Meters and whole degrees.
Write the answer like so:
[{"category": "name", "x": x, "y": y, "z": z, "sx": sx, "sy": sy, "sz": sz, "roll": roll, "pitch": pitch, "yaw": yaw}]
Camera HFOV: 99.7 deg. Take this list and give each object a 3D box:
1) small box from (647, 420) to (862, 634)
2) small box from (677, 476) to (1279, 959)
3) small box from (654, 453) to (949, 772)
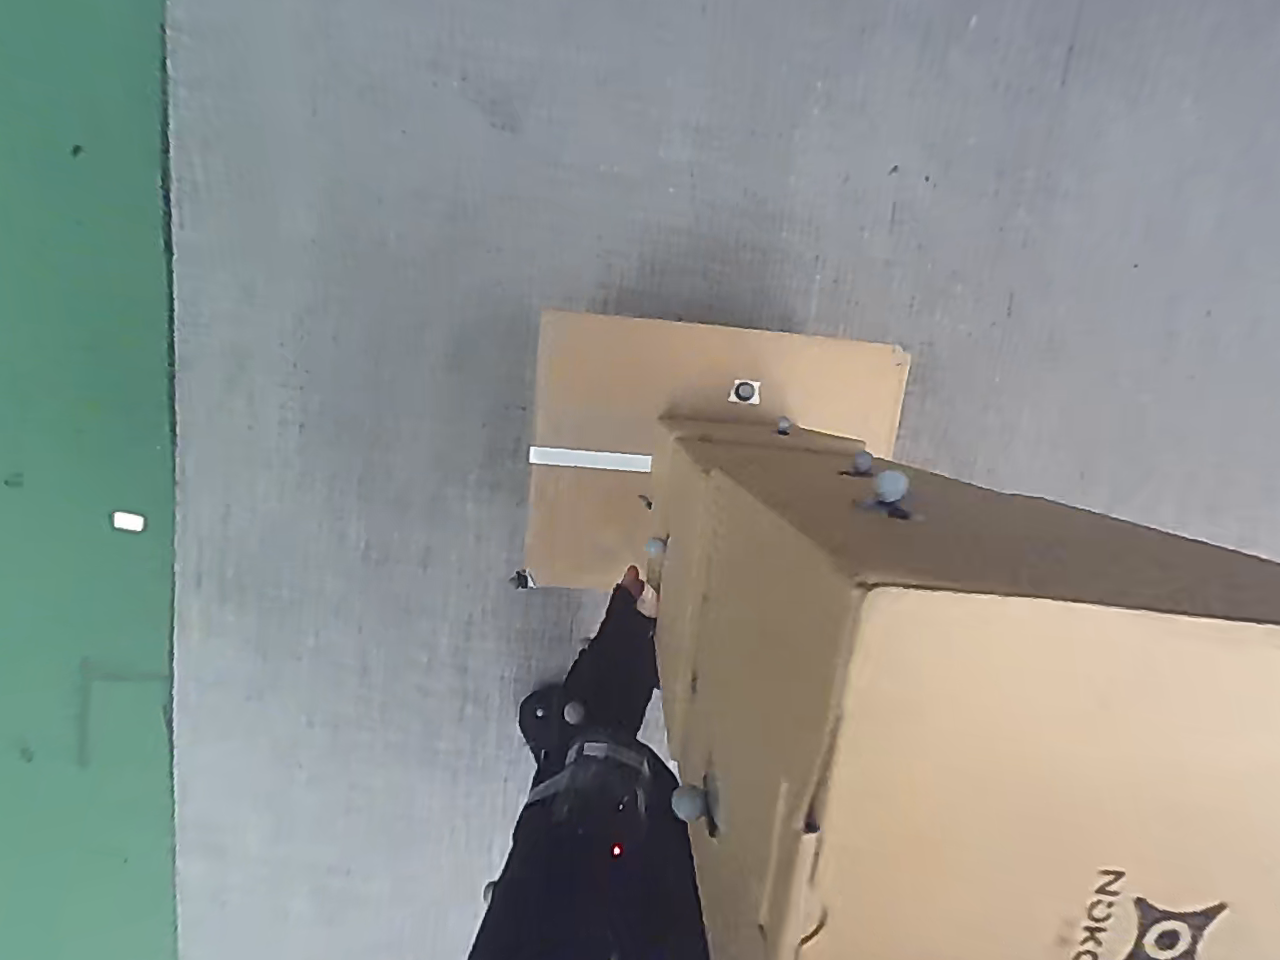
[{"category": "small box", "x": 0.094, "y": 0.039, "z": 0.532, "sx": 0.168, "sy": 0.176, "sz": 0.179, "roll": 3, "pitch": 101, "yaw": -2}, {"category": "small box", "x": 0.113, "y": 0.096, "z": 0.211, "sx": 0.179, "sy": 0.176, "sz": 0.168, "roll": 5, "pitch": 101, "yaw": -3}, {"category": "small box", "x": 0.106, "y": 0.075, "z": 0.372, "sx": 0.179, "sy": 0.176, "sz": 0.168, "roll": 2, "pitch": 100, "yaw": -3}]
